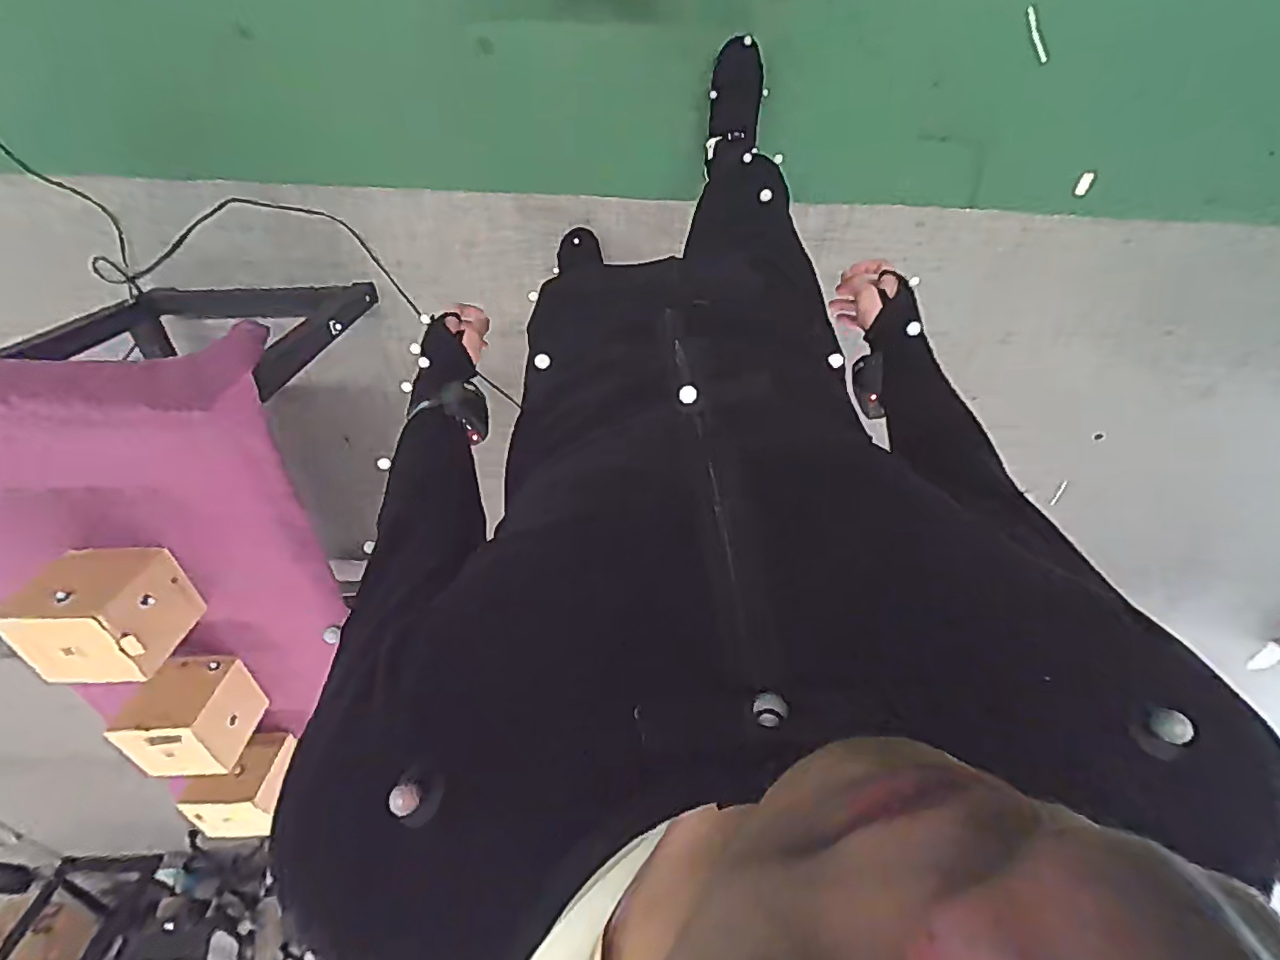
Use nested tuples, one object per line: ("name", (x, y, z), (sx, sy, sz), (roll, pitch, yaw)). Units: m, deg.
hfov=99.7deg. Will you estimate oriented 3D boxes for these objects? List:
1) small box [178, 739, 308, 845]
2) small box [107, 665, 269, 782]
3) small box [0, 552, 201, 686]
("small box", (-0.936, 0.746, 1.303), (0.179, 0.176, 0.168), (-2, 124, -2))
("small box", (-0.933, 0.506, 1.138), (0.168, 0.176, 0.179), (-1, 126, -1))
("small box", (-0.933, 0.242, 0.957), (0.179, 0.176, 0.168), (0, 124, -1))
